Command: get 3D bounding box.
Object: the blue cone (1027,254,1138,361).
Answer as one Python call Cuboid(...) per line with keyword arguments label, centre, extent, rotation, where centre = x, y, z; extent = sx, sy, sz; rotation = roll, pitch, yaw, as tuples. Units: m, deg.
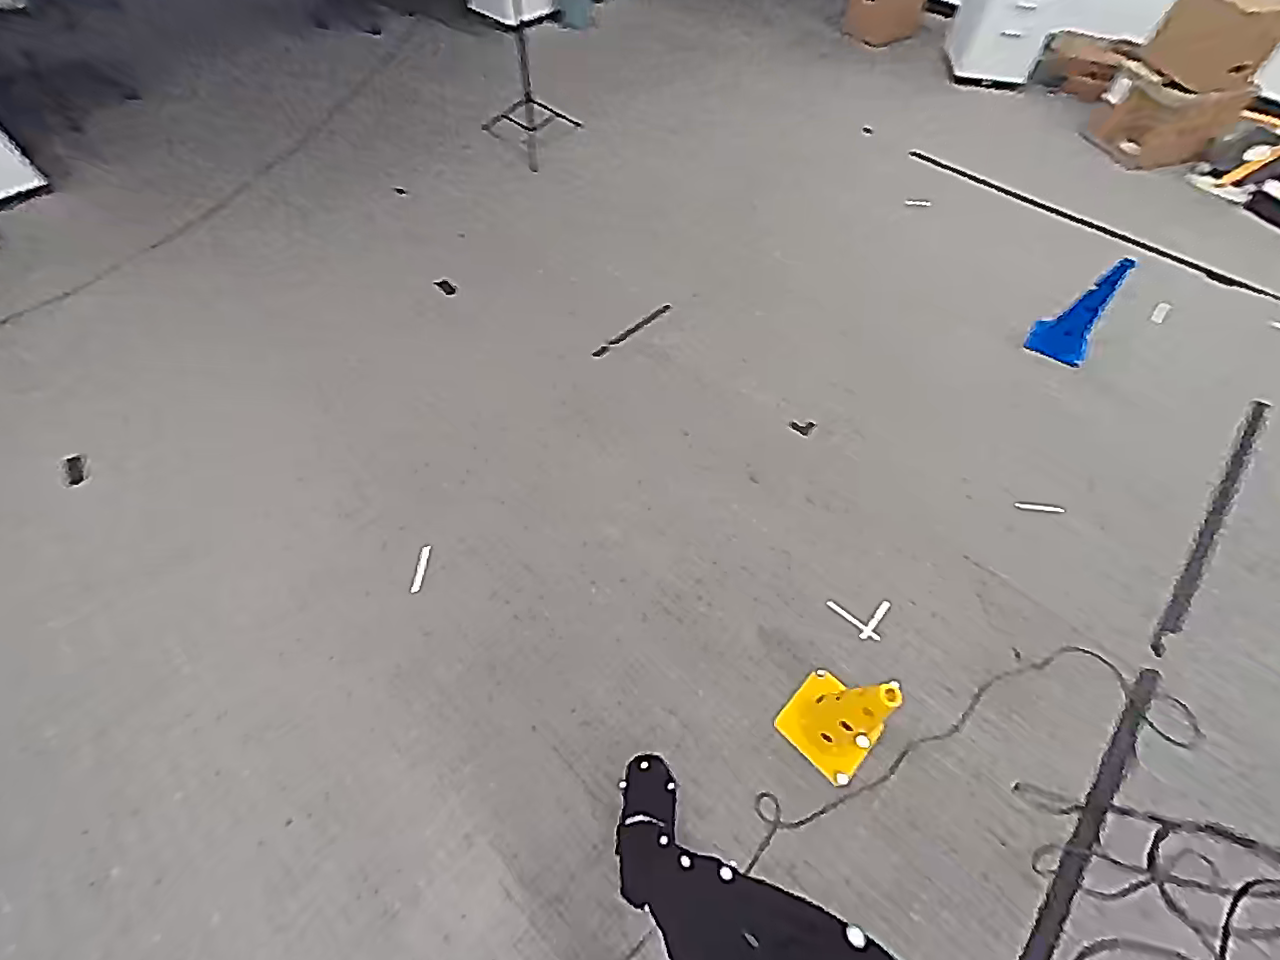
Cuboid(label="blue cone", centre=(1.596, -0.632, 1.927), extent=(0.192, 0.380, 0.193), rotation=(34, 62, 18))
